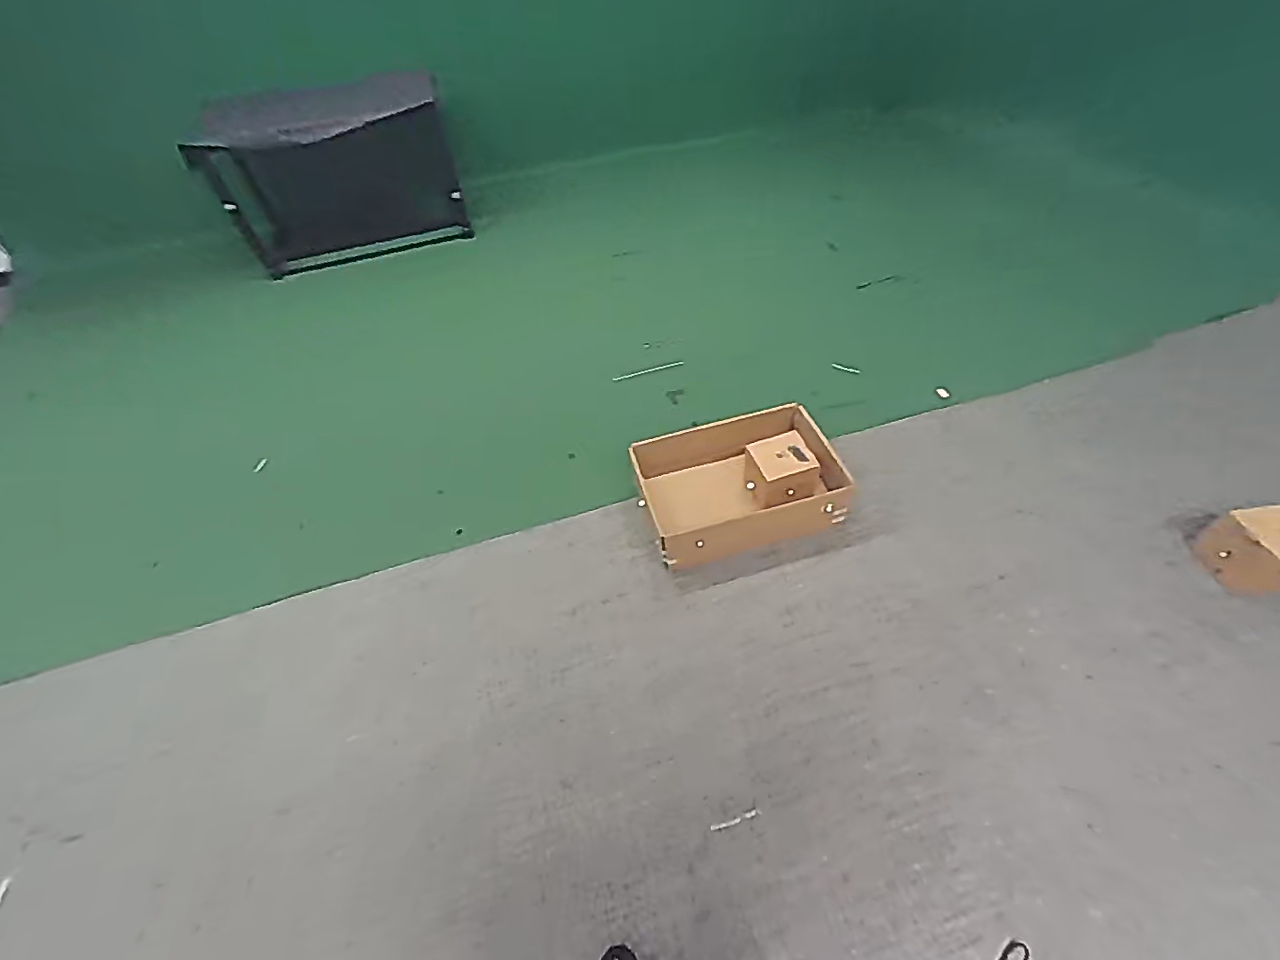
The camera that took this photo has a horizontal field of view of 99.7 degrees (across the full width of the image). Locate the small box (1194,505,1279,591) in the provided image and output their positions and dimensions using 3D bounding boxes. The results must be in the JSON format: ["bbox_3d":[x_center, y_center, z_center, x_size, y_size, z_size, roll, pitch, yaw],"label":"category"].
[{"bbox_3d":[1.696,0.189,1.483,0.179,0.176,0.168,-7,49,1],"label":"small box"}]
